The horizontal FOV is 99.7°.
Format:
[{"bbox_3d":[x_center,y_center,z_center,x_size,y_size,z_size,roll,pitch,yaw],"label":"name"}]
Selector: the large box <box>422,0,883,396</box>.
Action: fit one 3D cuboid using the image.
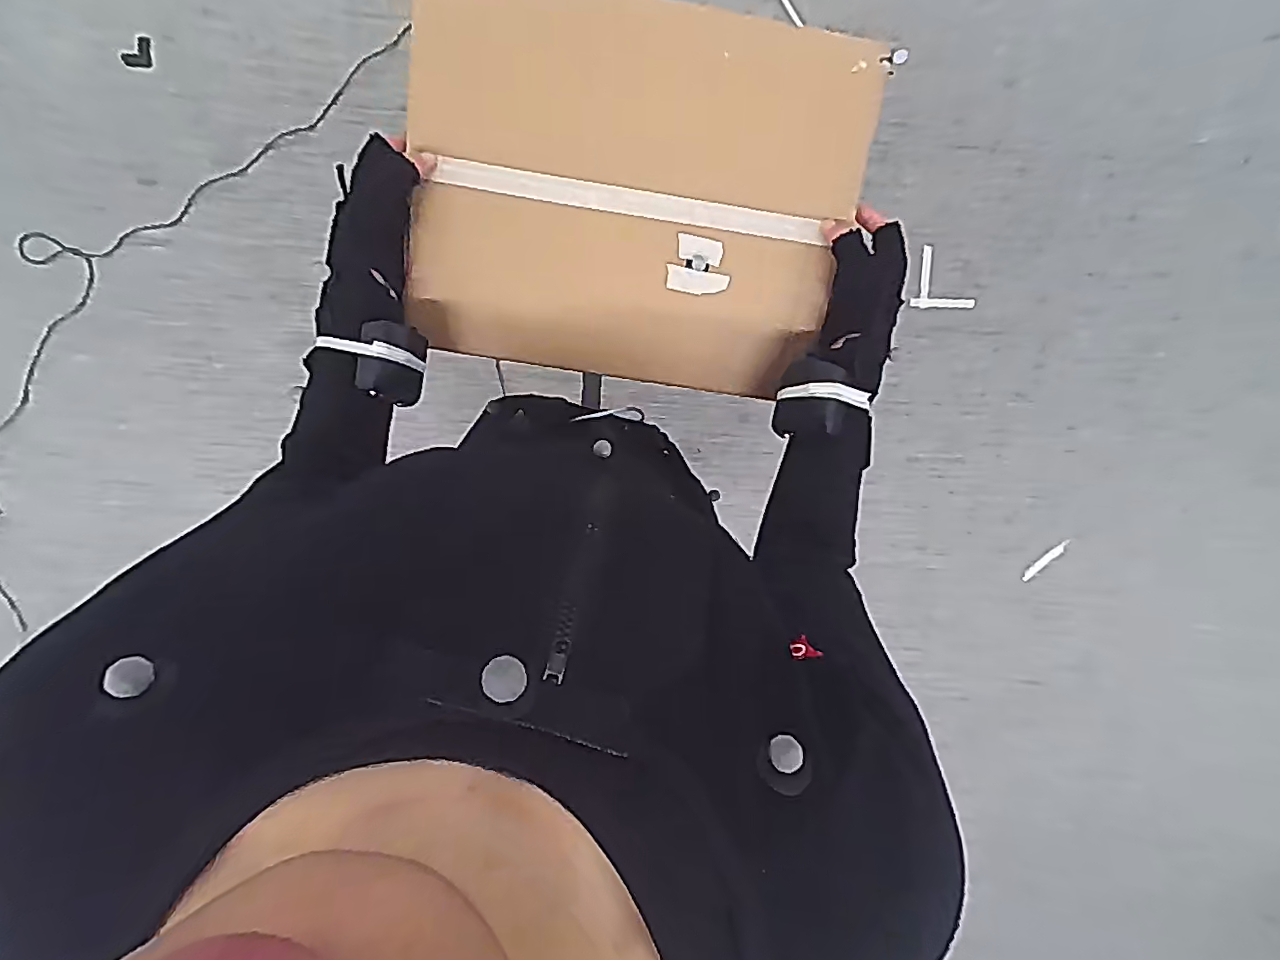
[{"bbox_3d":[-0.007,-0.294,0.647,0.408,0.320,0.320,8,106,-5],"label":"large box"}]
